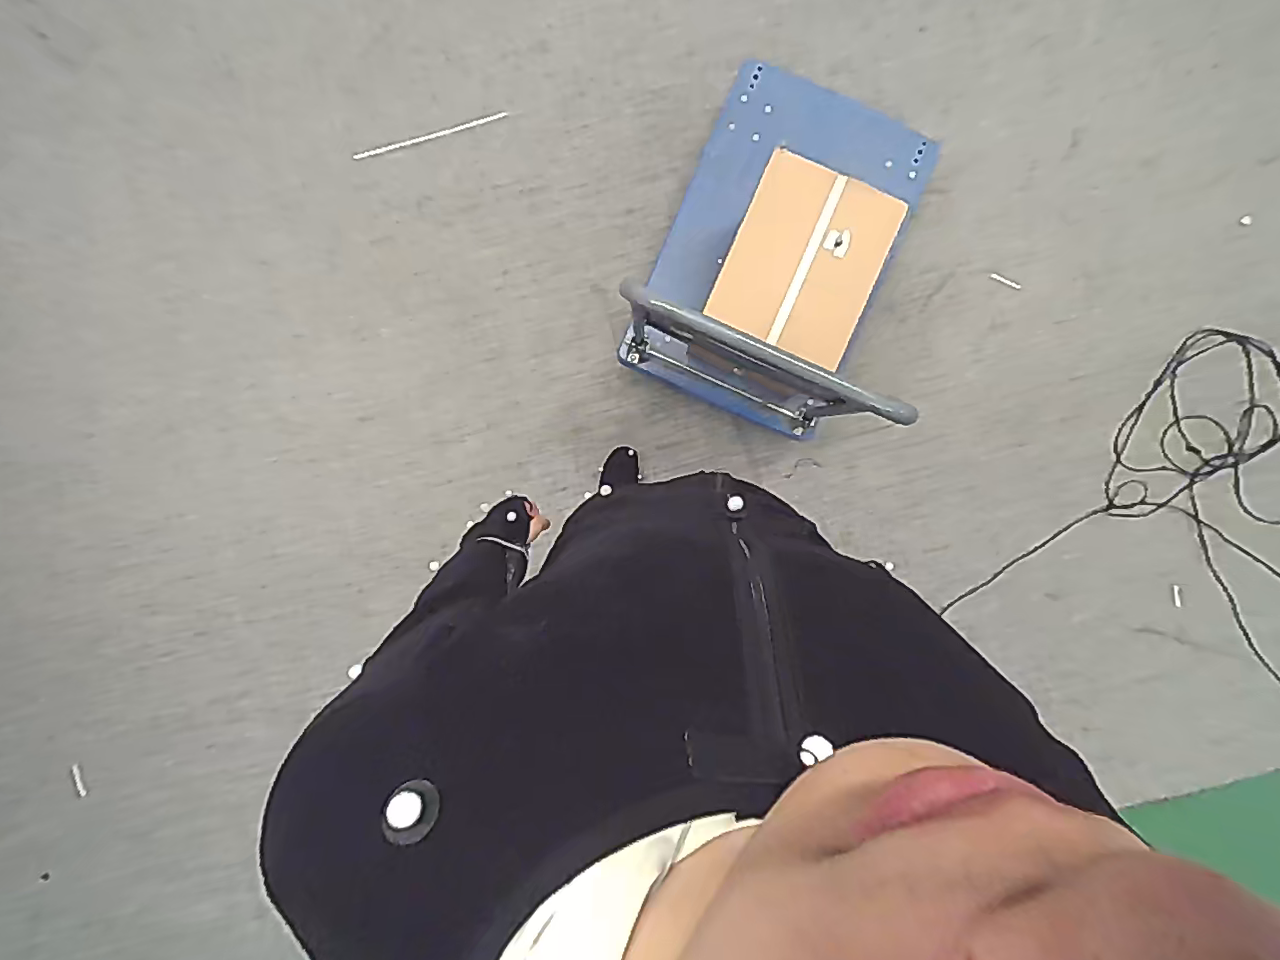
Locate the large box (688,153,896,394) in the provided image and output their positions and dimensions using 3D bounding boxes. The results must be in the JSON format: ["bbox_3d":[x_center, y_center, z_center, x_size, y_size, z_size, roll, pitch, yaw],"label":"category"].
[{"bbox_3d":[0.340,-0.466,1.314,0.320,0.320,0.408,24,91,-1],"label":"large box"}]
